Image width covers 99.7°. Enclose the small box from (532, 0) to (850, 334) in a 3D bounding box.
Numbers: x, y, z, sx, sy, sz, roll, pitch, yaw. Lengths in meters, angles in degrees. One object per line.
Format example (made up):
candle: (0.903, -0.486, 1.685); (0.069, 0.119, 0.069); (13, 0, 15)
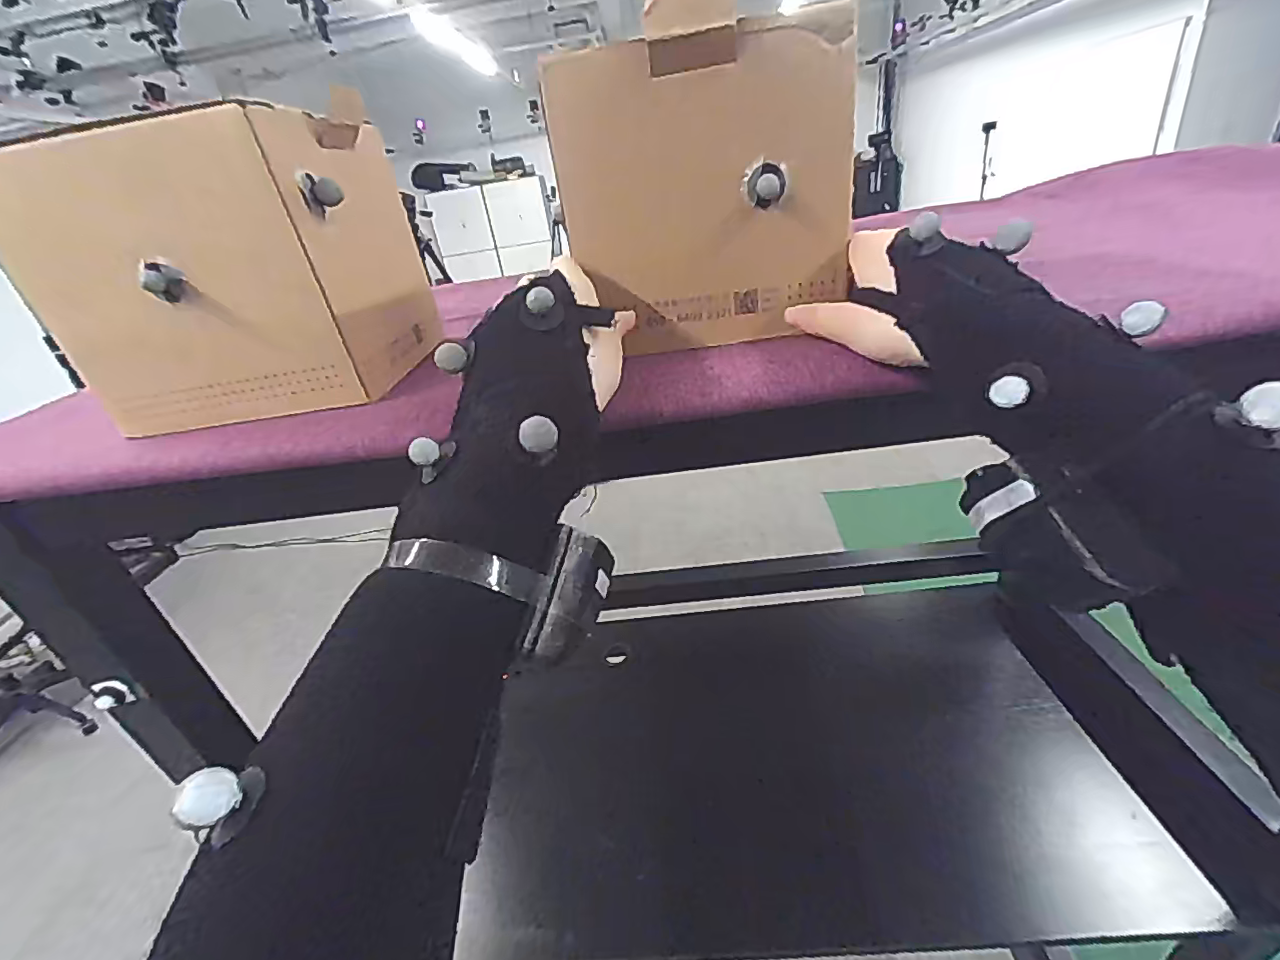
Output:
small box: (0.041, -0.204, 0.377); (0.168, 0.176, 0.179); (-4, 29, 7)
